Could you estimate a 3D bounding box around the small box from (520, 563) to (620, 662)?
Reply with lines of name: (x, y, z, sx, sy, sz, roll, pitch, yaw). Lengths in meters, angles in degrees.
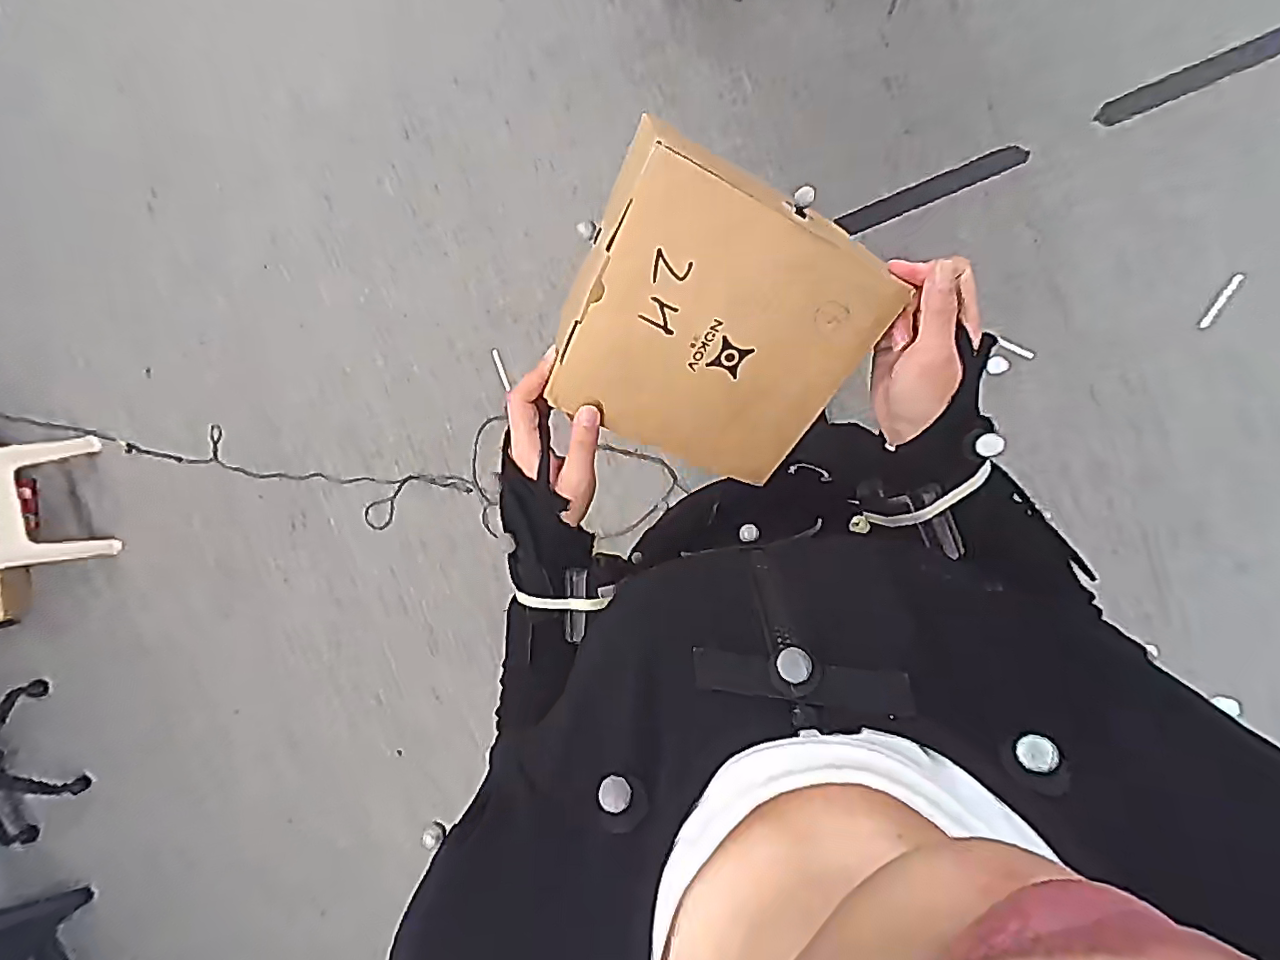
small box: (-0.173, 0.334, 1.388, 0.179, 0.176, 0.168, -25, 92, 12)
